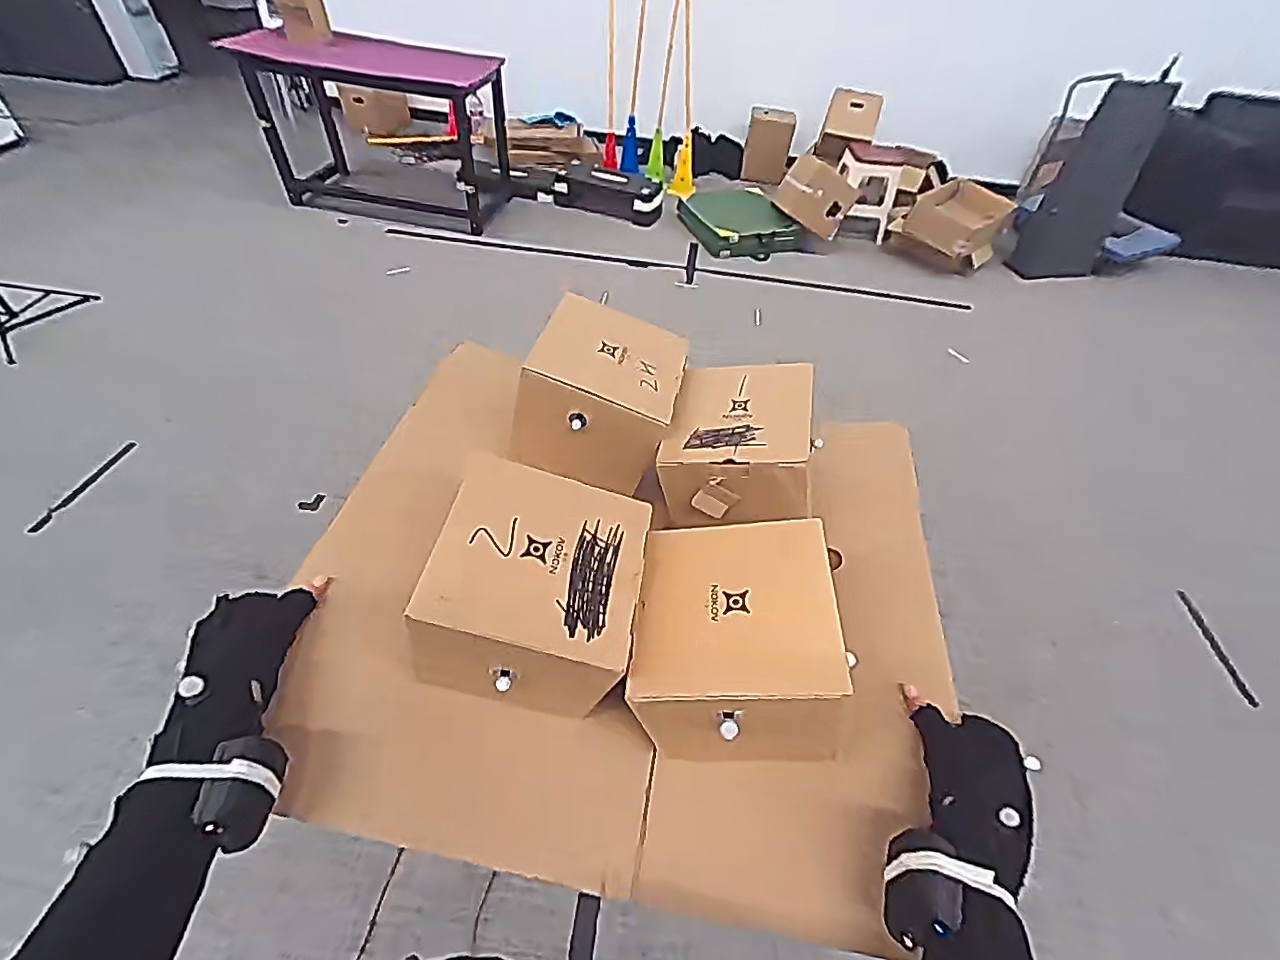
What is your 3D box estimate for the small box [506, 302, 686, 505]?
[{"bbox_3d":[-0.061,-0.094,0.707,0.179,0.176,0.168,22,49,-5],"label":"small box"}]
